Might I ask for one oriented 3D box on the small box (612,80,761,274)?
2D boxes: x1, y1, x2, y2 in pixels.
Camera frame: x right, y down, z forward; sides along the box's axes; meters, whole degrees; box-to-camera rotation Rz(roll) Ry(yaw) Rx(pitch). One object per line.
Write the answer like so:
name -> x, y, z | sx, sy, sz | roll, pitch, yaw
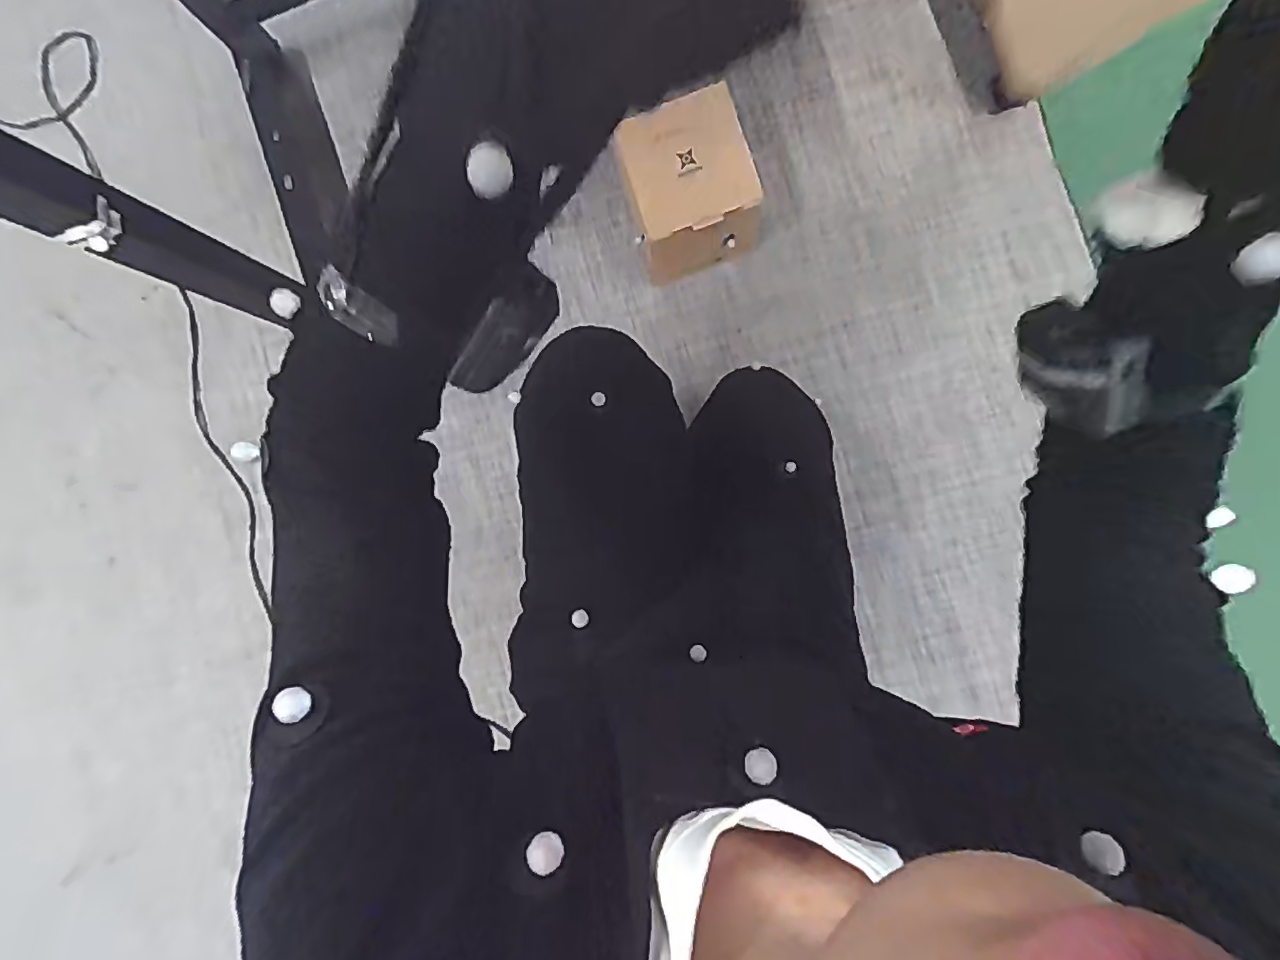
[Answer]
small box -> 0.071, -0.435, 0.814 | 0.168, 0.176, 0.179 | -19, 86, 5
